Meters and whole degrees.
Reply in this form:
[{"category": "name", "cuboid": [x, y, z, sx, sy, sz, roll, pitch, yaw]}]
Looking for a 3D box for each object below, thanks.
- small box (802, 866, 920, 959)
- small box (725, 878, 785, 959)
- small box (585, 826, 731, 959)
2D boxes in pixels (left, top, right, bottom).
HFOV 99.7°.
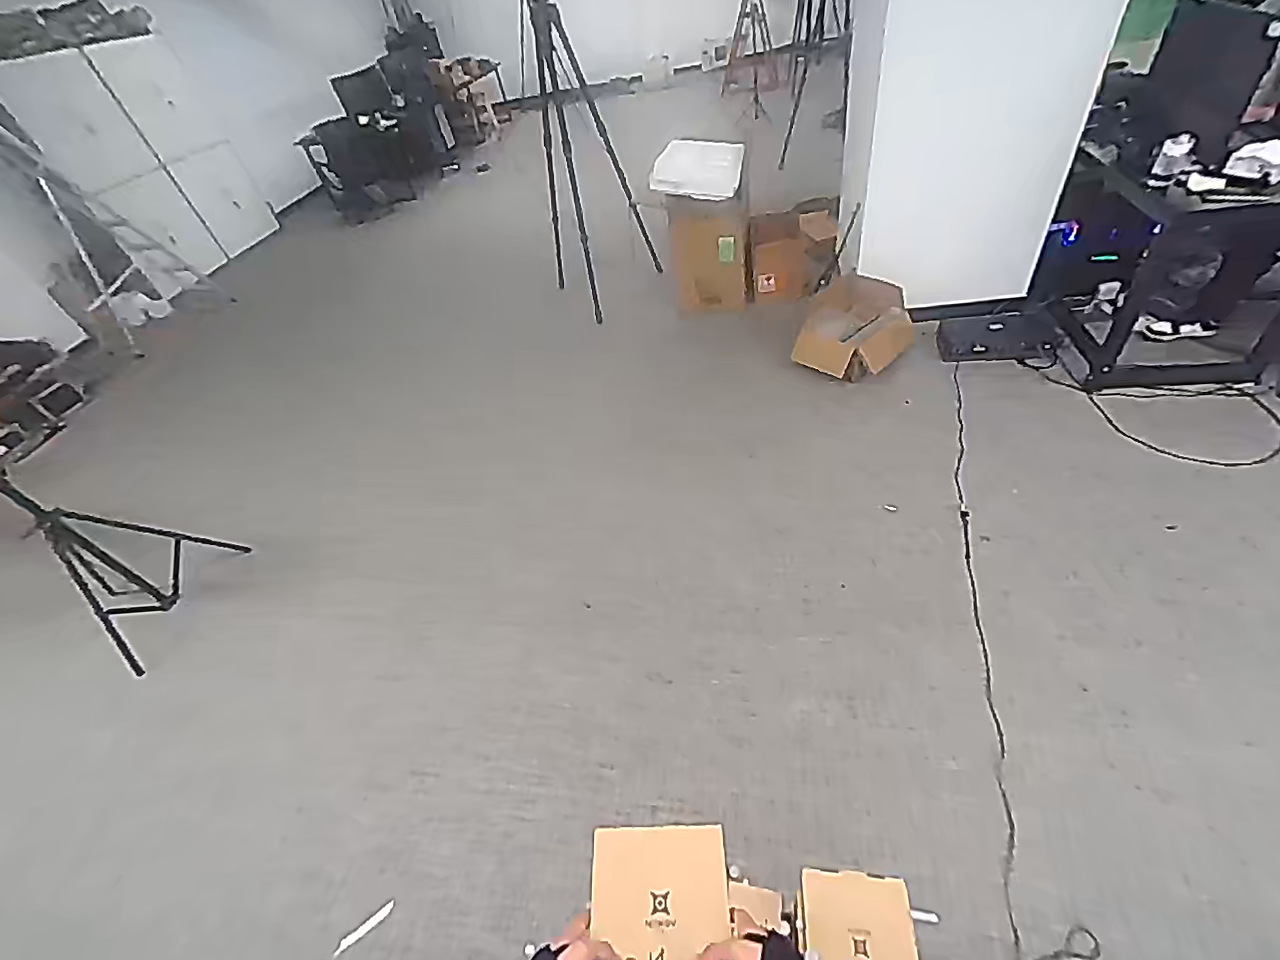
[{"category": "small box", "cuboid": [0.357, 0.769, 0.889, 0.168, 0.176, 0.179, -3, 44, 14]}, {"category": "small box", "cuboid": [0.189, 0.891, 1.050, 0.179, 0.176, 0.168, 1, 46, 18]}, {"category": "small box", "cuboid": [0.029, 0.558, 0.685, 0.168, 0.176, 0.179, -5, 48, 6]}]
